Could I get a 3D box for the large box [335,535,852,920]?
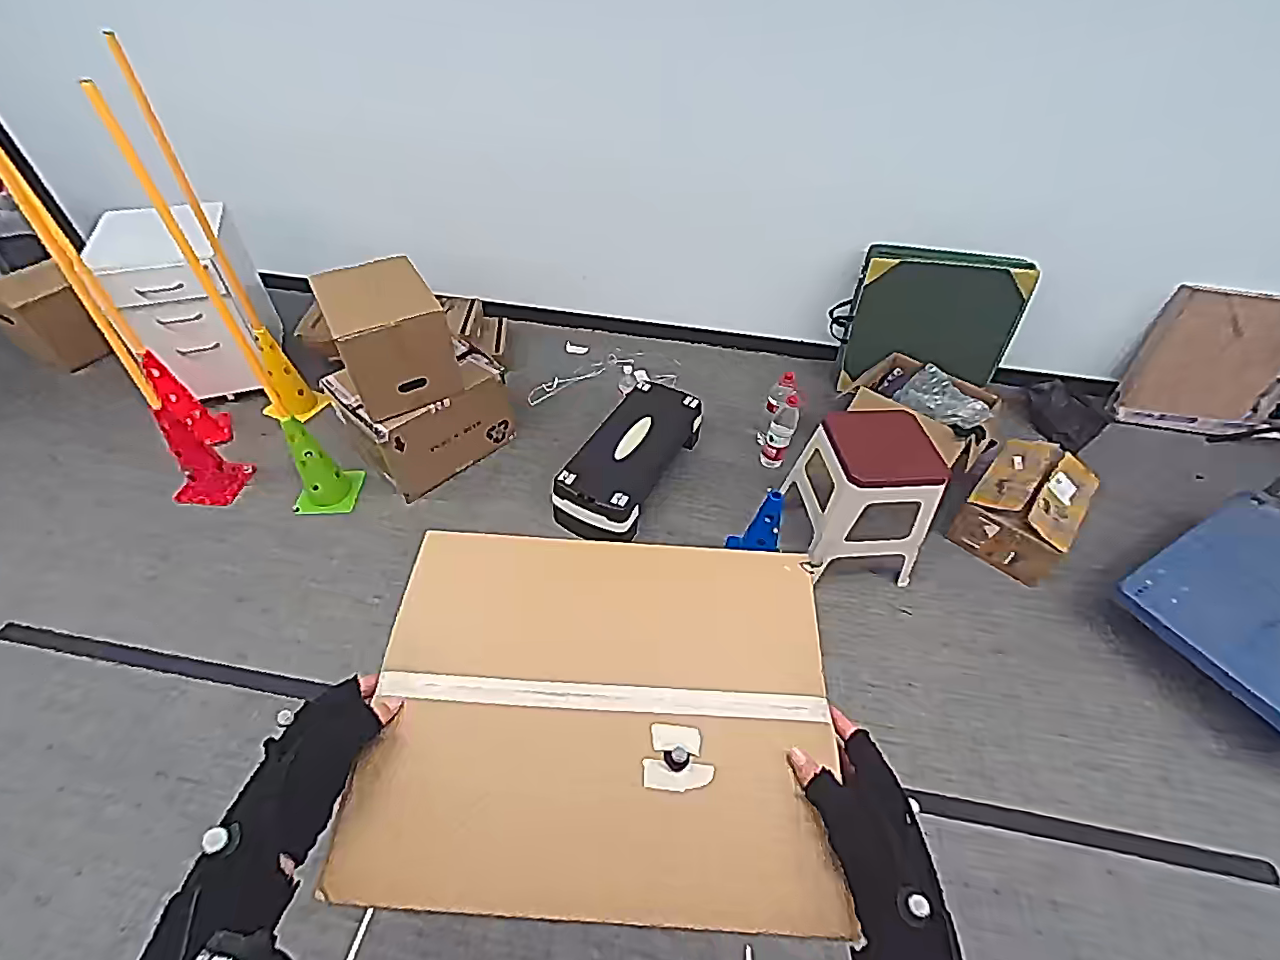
[{"bbox_3d":[-0.035,0.280,0.614,0.408,0.320,0.320,4,56,0],"label":"large box"}]
